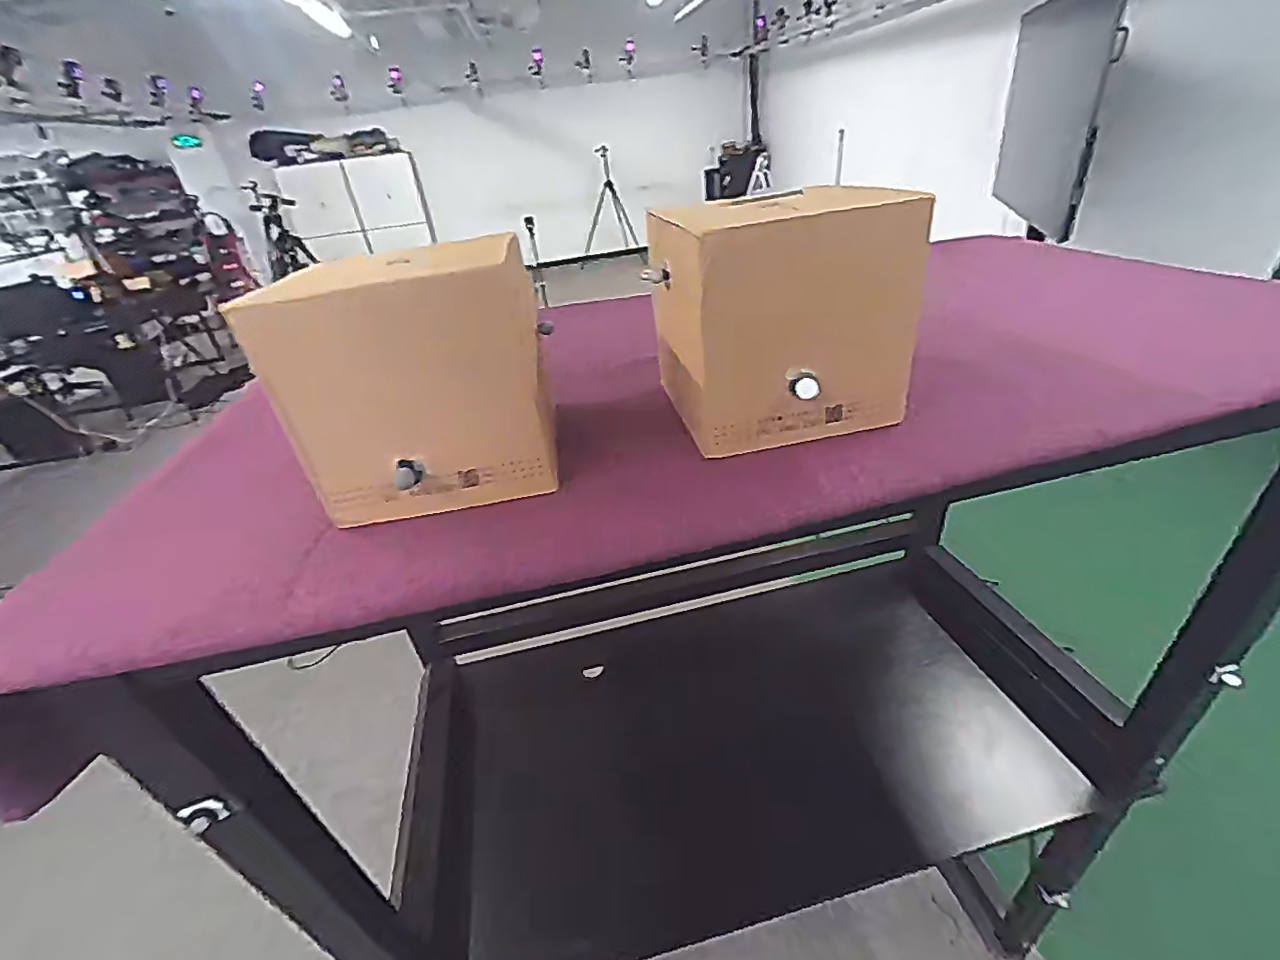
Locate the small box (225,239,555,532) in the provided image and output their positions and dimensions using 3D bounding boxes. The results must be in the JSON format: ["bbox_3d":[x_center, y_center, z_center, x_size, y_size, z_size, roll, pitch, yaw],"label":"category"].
[{"bbox_3d":[-0.166,-0.083,0.432,0.168,0.176,0.179,-10,32,-3],"label":"small box"}]

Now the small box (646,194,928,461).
[{"bbox_3d":[0.105,-0.136,0.459,0.168,0.176,0.179,-11,32,-5],"label":"small box"}]
